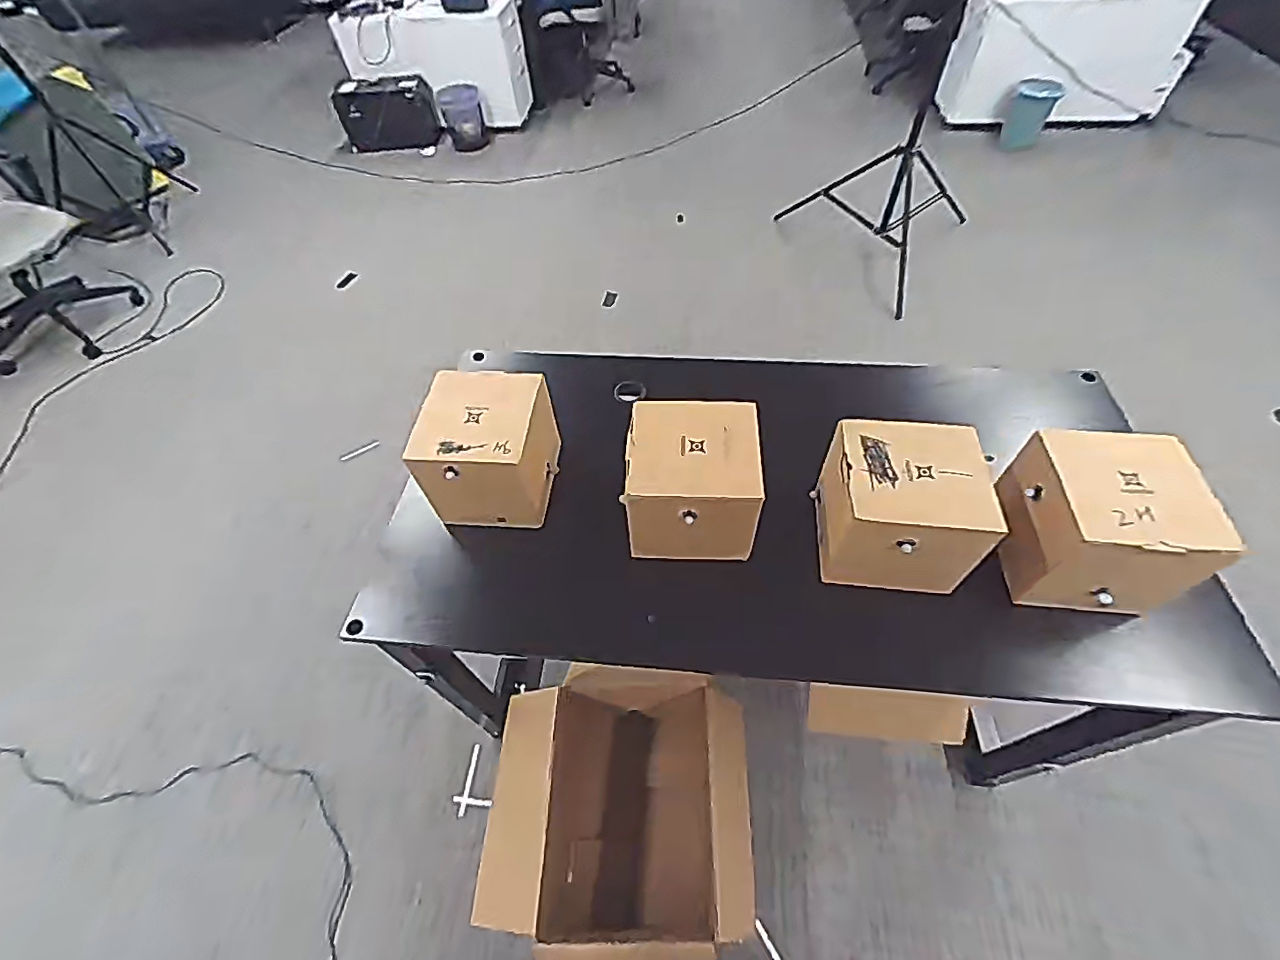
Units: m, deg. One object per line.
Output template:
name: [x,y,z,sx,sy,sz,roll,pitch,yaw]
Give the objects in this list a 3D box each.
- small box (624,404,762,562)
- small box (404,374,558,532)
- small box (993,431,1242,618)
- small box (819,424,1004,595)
small box: [0.074,0.008,0.784,0.179,0.176,0.168,1,54,3]
small box: [-0.229,-0.041,0.835,0.168,0.176,0.179,2,53,5]
small box: [0.591,0.059,0.711,0.168,0.176,0.179,4,53,8]
small box: [0.348,0.043,0.739,0.179,0.176,0.168,5,53,7]
